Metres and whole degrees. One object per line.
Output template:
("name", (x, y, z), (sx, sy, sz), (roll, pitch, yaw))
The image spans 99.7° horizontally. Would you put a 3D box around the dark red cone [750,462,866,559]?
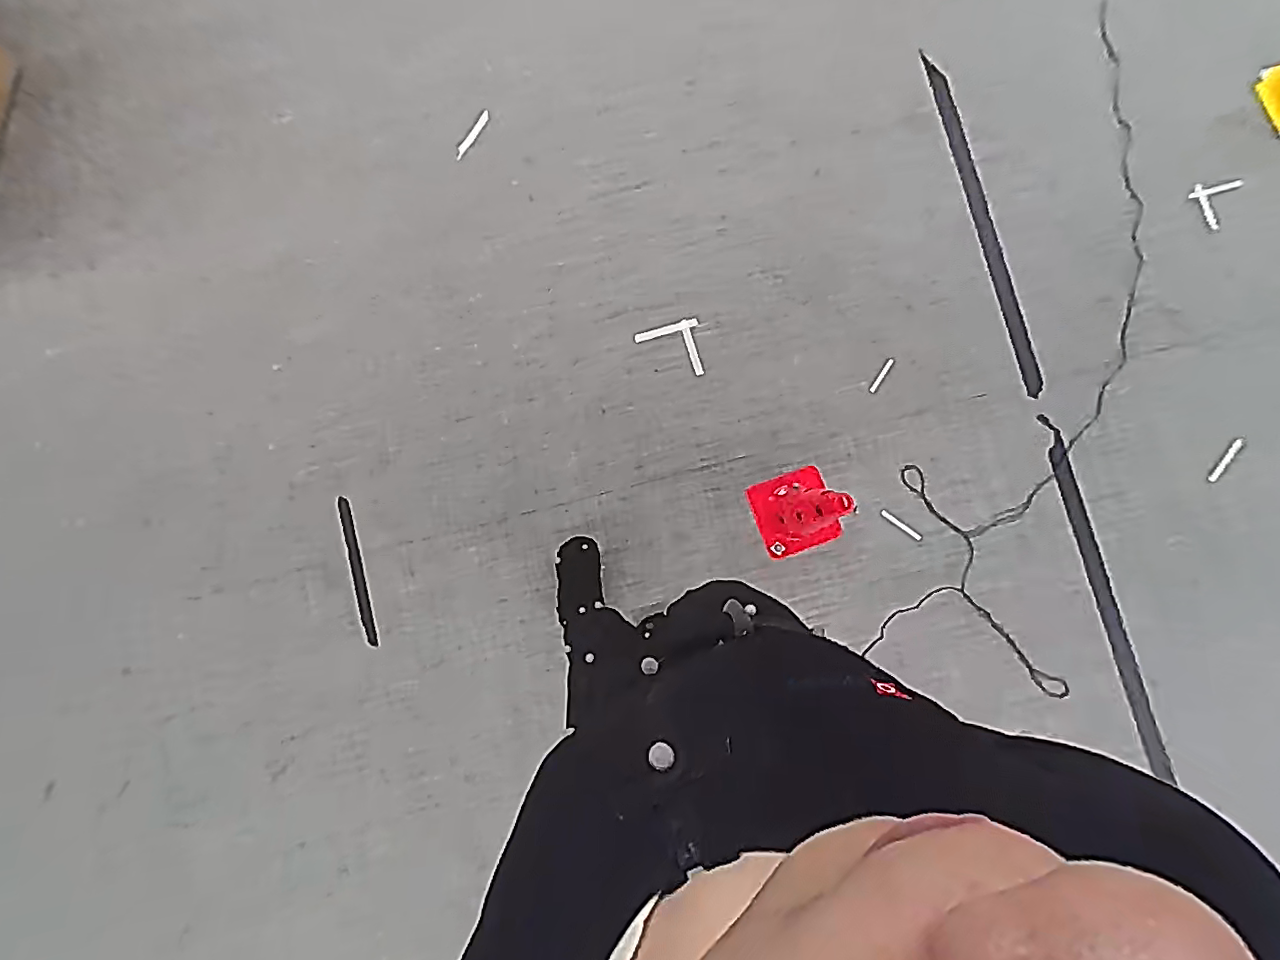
("dark red cone", (0.395, 0.055, 1.182), (0.201, 0.394, 0.202), (-22, 83, -3))
